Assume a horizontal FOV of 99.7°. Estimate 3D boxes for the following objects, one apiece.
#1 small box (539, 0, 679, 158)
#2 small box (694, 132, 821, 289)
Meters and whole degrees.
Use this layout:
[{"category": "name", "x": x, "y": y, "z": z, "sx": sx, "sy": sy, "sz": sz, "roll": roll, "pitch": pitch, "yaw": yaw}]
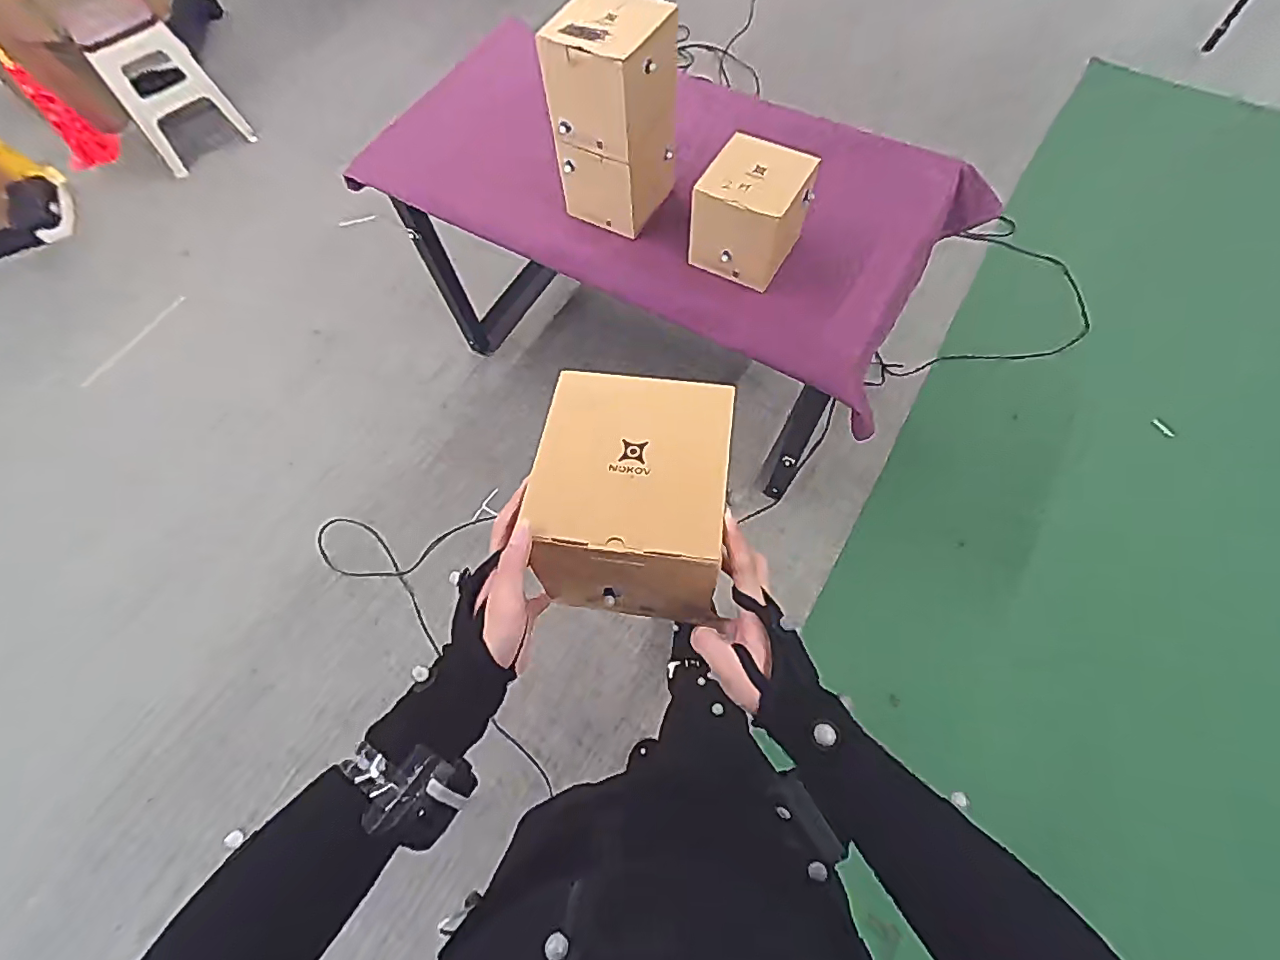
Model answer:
[{"category": "small box", "x": -0.044, "y": -0.697, "z": 0.930, "sx": 0.168, "sy": 0.176, "sz": 0.179, "roll": 28, "pitch": 69, "yaw": 13}, {"category": "small box", "x": 0.209, "y": -0.498, "z": 1.011, "sx": 0.168, "sy": 0.176, "sz": 0.179, "roll": 28, "pitch": 70, "yaw": 14}]
